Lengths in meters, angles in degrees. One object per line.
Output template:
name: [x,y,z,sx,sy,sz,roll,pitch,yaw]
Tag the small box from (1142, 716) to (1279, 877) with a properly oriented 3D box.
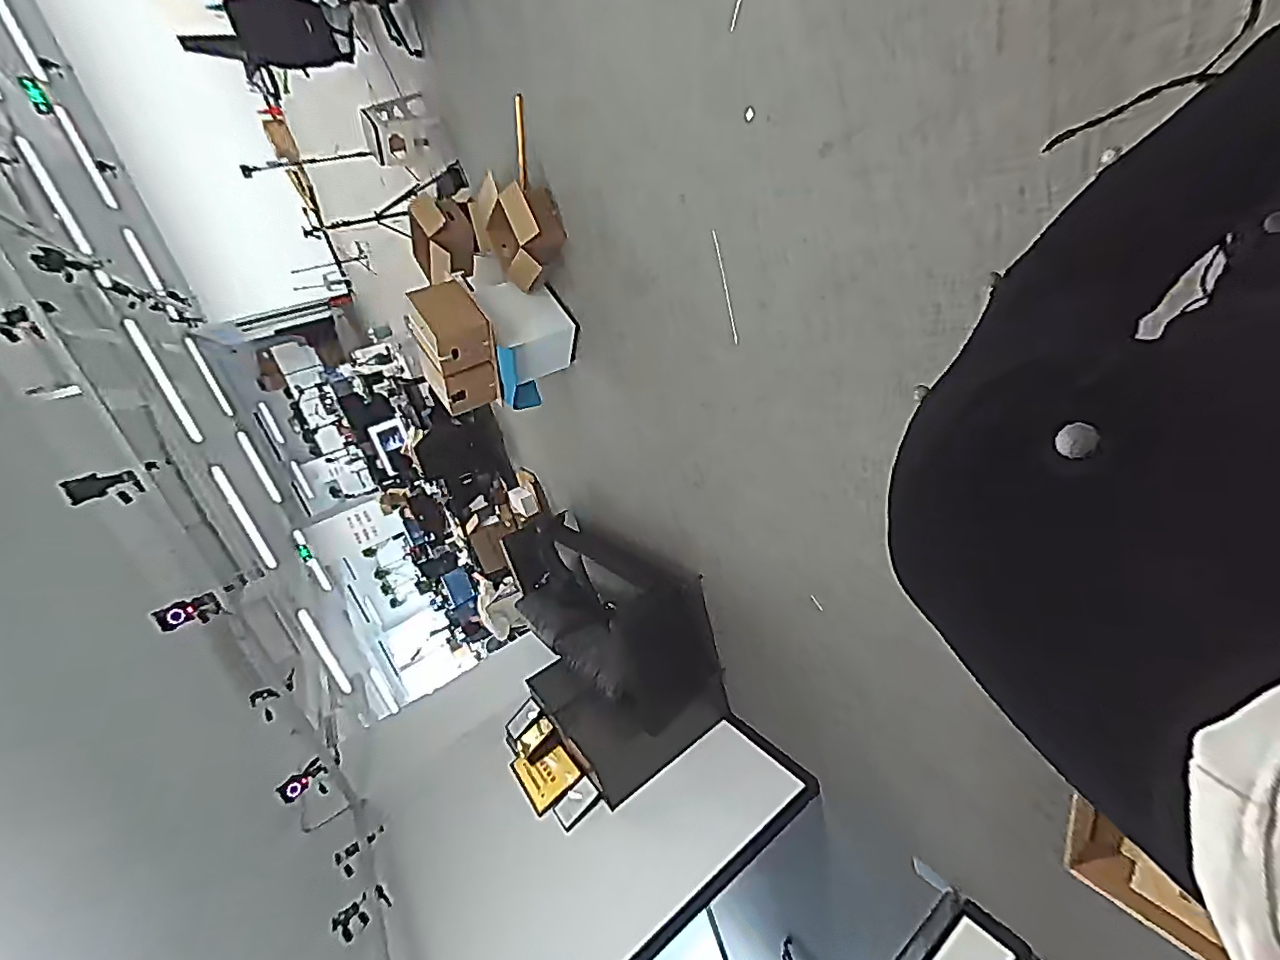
small box: [1.139,0.609,1.063,0.168,0.176,0.179,24,135,53]
